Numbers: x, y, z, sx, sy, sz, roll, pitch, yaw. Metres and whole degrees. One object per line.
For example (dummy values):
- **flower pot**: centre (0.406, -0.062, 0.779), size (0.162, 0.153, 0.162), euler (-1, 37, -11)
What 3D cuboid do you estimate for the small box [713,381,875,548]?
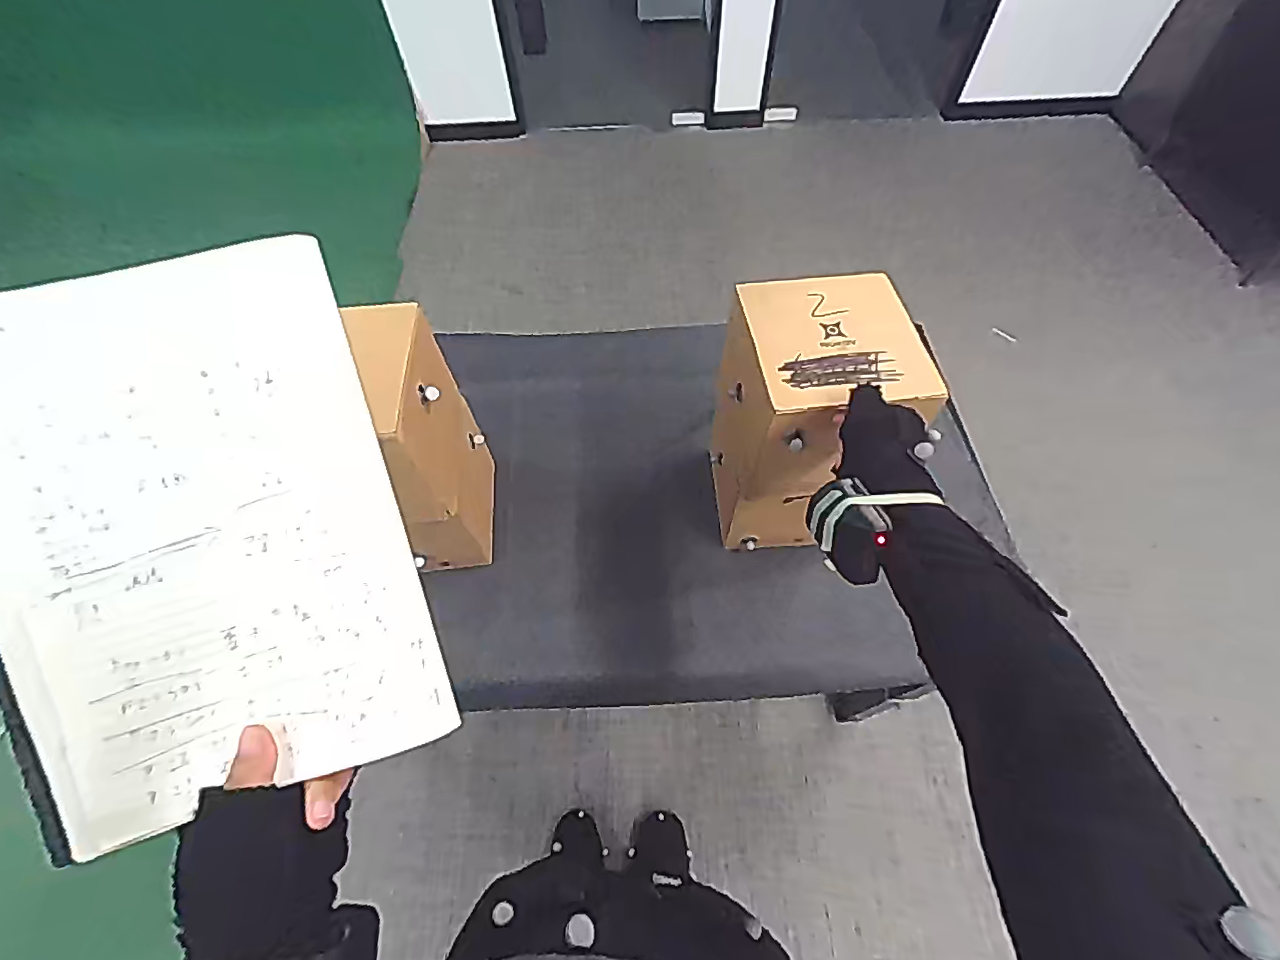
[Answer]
- **small box**: centre (0.197, -0.014, 0.749), size (0.168, 0.176, 0.179), euler (-3, 57, -1)

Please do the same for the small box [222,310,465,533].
- **small box**: centre (-0.300, -0.060, 0.597), size (0.168, 0.176, 0.179), euler (-5, 58, -3)

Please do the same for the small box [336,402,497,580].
- **small box**: centre (-0.298, 0.018, 0.739), size (0.168, 0.176, 0.179), euler (-6, 58, -2)
